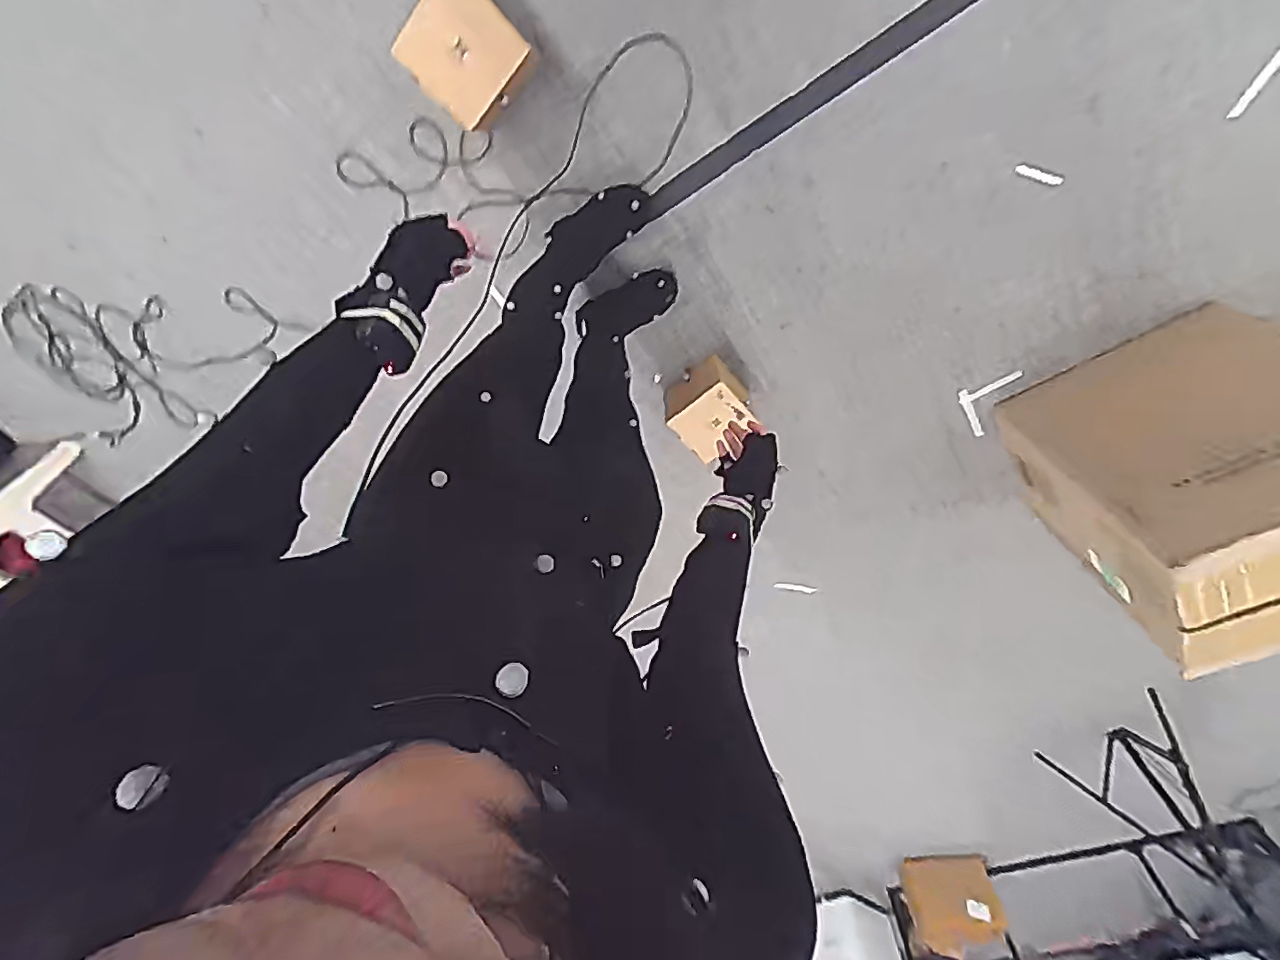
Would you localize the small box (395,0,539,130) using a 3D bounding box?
[{"bbox_3d":[-0.300,-0.773,0.976,0.179,0.176,0.168,-40,118,23],"label":"small box"}]

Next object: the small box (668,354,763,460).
[{"bbox_3d":[0.190,-0.190,1.394,0.179,0.176,0.168,-36,118,24],"label":"small box"}]
